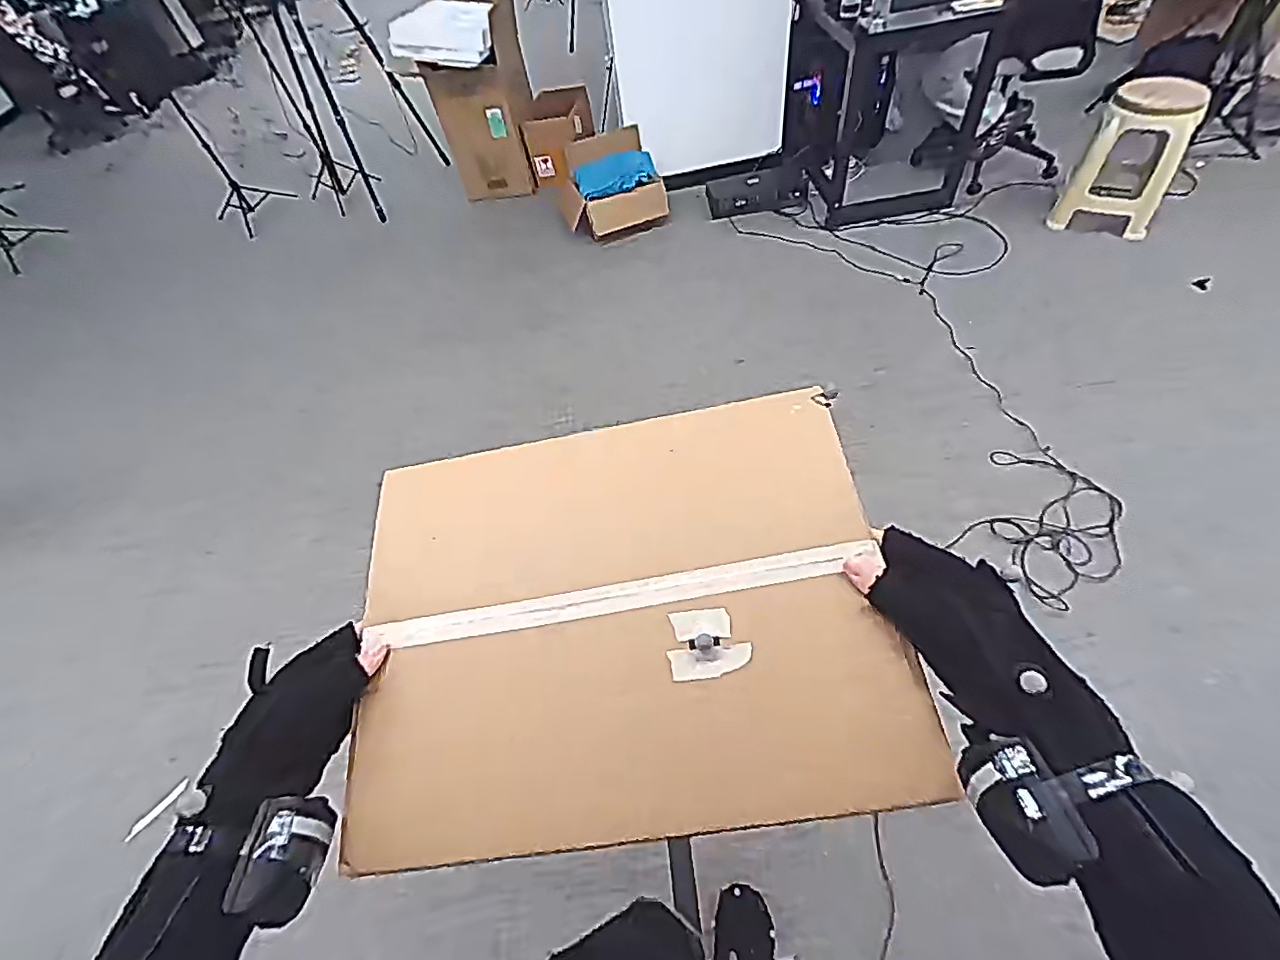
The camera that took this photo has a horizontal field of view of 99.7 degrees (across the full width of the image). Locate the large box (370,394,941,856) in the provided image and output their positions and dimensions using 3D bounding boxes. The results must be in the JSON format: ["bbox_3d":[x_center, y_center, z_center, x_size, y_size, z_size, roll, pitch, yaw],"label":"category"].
[{"bbox_3d":[0.007,0.160,0.563,0.408,0.320,0.320,-11,62,5],"label":"large box"}]
